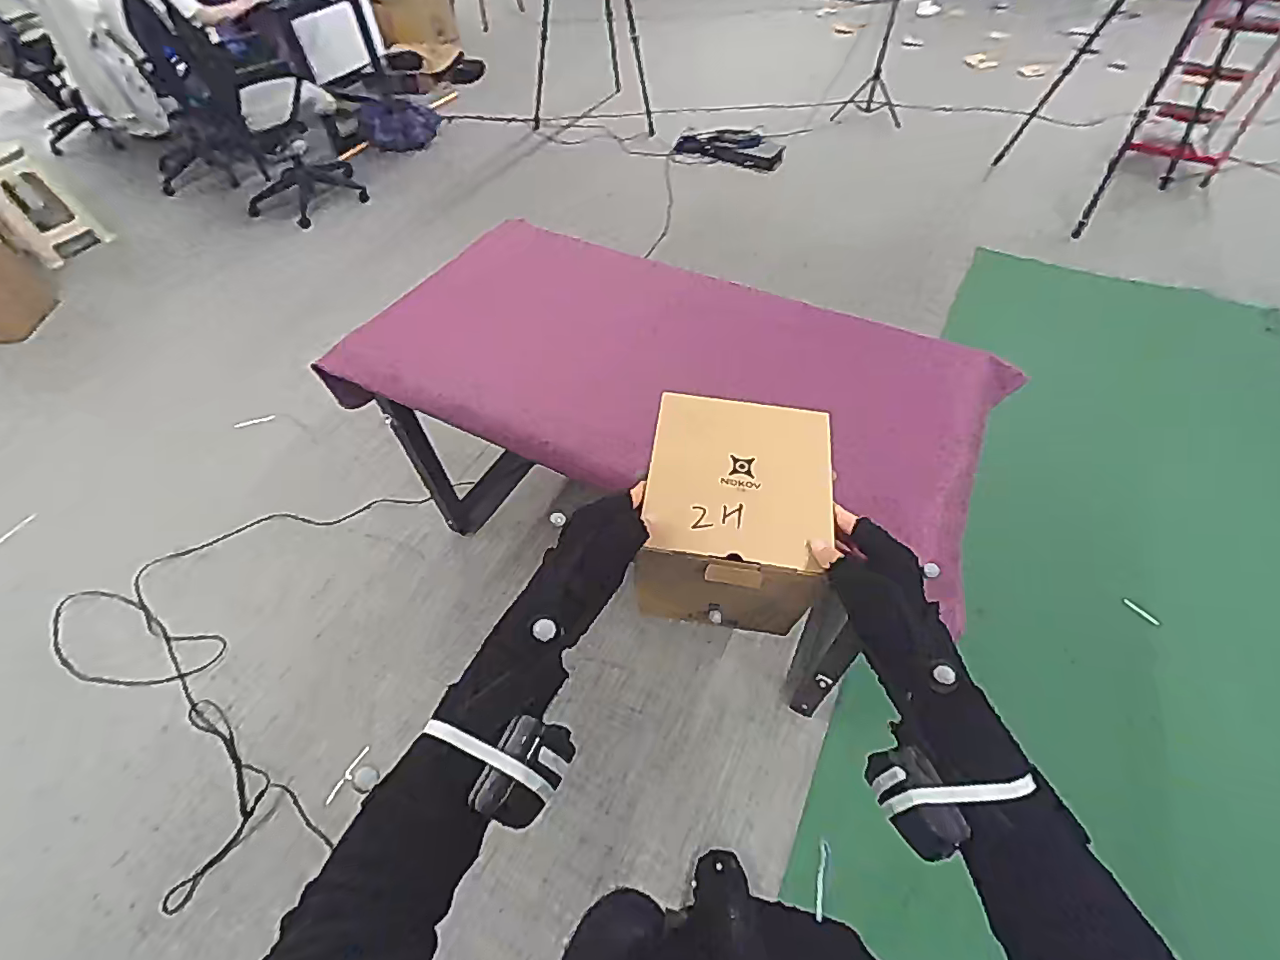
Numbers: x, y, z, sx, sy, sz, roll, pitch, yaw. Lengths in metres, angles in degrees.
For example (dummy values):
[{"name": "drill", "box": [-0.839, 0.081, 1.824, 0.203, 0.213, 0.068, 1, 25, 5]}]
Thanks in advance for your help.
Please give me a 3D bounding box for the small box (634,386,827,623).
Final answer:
[{"name": "small box", "box": [0.086, 0.030, 0.562, 0.168, 0.176, 0.179, 7, 59, 5]}]
